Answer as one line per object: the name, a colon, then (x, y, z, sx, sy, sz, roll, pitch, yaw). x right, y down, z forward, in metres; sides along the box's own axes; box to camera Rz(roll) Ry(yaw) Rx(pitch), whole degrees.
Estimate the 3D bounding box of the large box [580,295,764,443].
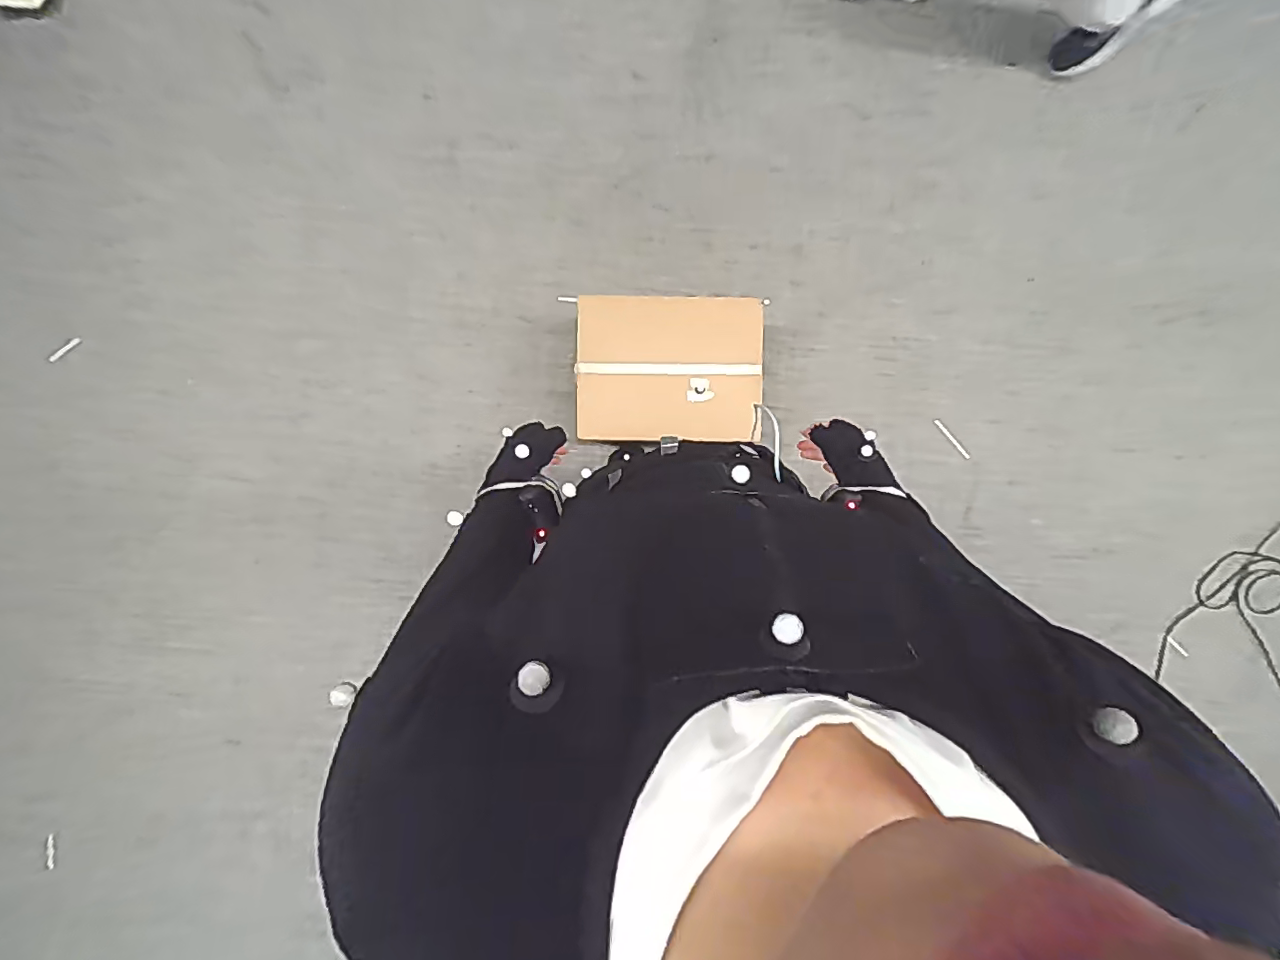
large box: (0.067, -0.250, 1.319, 0.408, 0.320, 0.320, 1, 94, 0)
